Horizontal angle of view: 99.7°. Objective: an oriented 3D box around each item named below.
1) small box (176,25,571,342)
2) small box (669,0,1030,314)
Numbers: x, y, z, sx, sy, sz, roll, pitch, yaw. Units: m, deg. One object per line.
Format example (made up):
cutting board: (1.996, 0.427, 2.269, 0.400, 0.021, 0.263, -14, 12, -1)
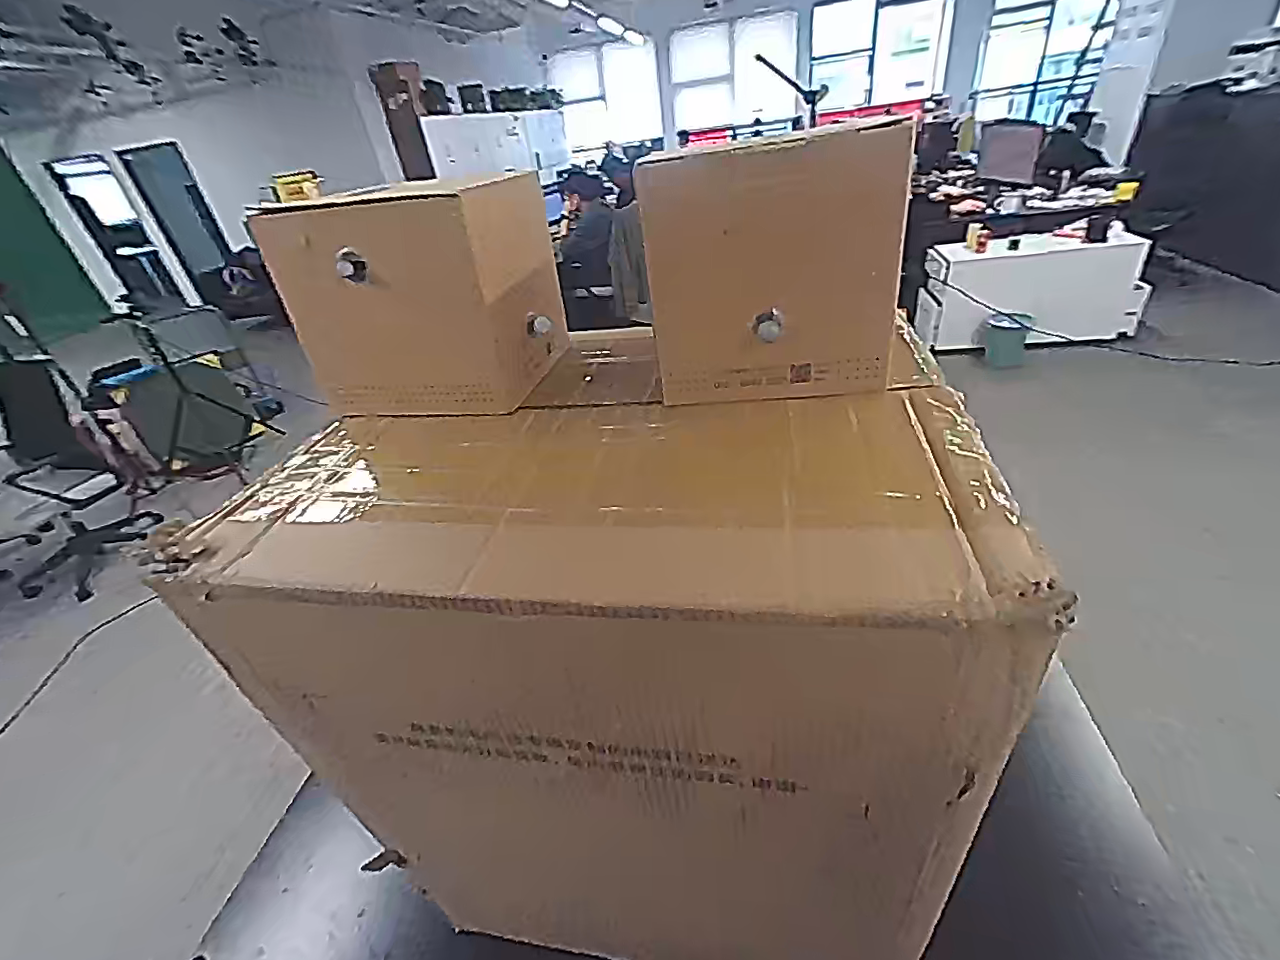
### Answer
small box: (-0.166, -0.208, 0.405, 0.179, 0.176, 0.168, 1, 34, 12)
small box: (0.115, -0.217, 0.354, 0.168, 0.176, 0.179, -2, 33, 12)
